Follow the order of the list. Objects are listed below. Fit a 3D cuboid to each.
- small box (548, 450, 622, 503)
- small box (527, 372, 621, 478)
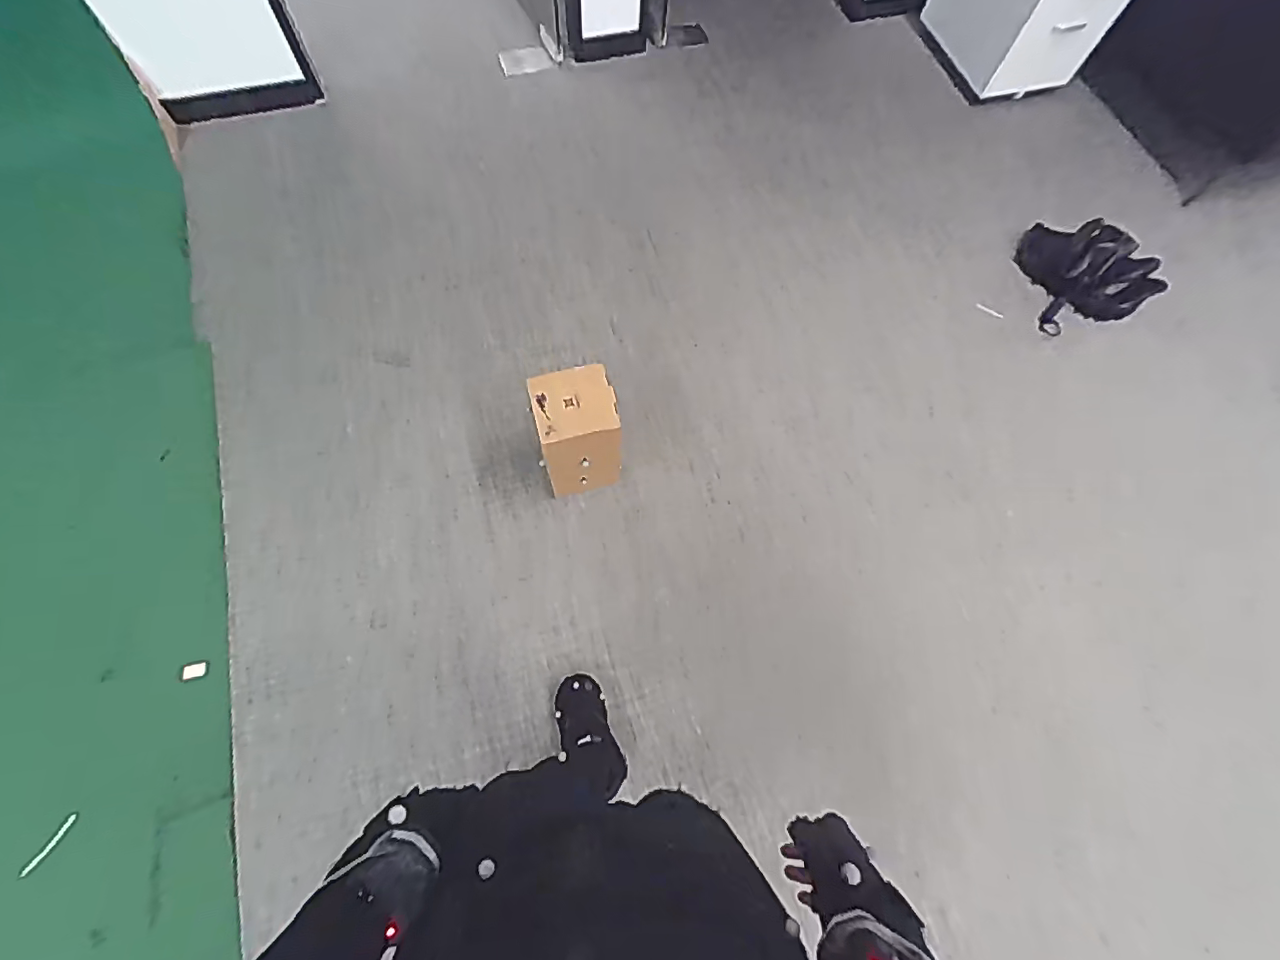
[{"bbox_3d":[-0.158,-0.060,1.392,0.179,0.176,0.168,-17,70,-11],"label":"small box"},{"bbox_3d":[-0.151,-0.122,1.241,0.179,0.176,0.168,-13,69,-9],"label":"small box"}]
